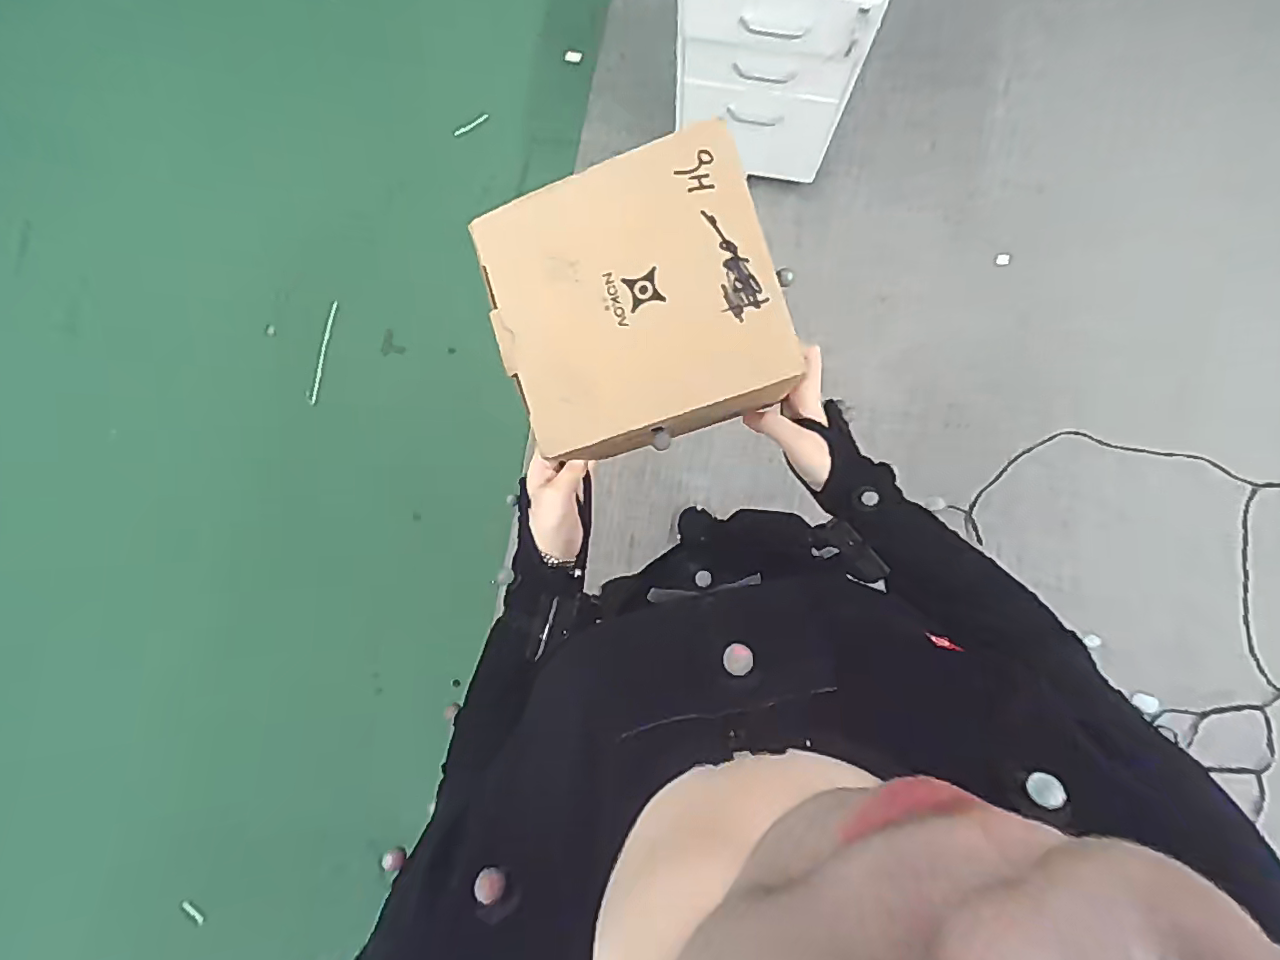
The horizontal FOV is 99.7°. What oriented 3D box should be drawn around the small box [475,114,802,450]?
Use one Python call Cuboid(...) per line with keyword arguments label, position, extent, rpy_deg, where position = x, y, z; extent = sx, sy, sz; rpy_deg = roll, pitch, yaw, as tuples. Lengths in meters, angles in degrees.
Cuboid(label="small box", position=(0.008, -0.122, 0.416), extent=(0.179, 0.176, 0.168), rpy_deg=(-17, 90, 10))
